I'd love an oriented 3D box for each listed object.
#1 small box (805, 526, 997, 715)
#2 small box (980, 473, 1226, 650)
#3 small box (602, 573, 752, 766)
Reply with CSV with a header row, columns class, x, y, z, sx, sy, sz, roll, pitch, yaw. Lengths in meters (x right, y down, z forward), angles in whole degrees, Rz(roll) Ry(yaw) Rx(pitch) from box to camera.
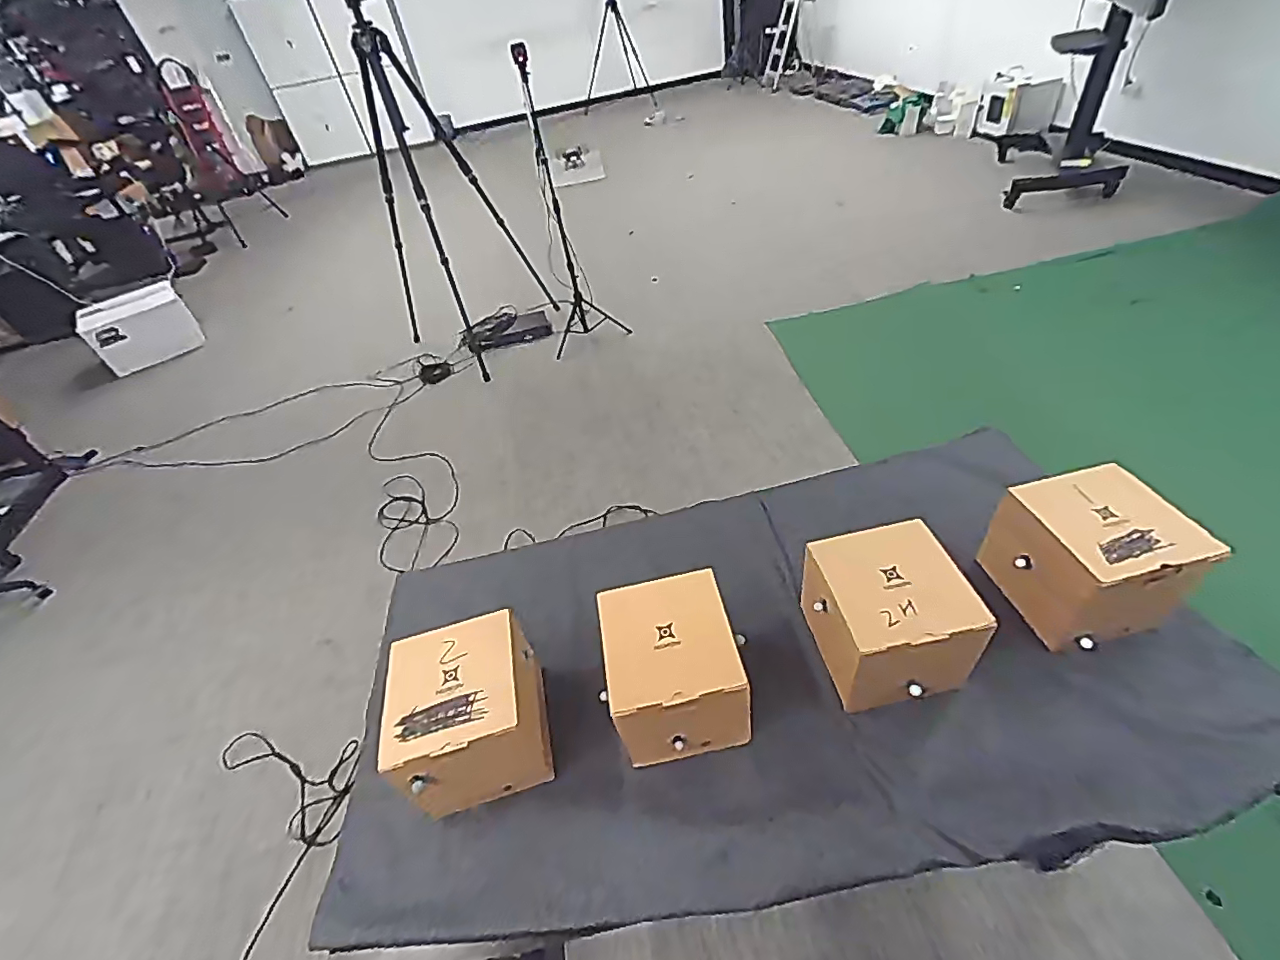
class,x,y,z,sx,sy,sz,roll,pitch,yaw
small box,0.338,0.194,0.747,0.168,0.176,0.179,-12,43,0
small box,0.628,0.121,0.765,0.168,0.176,0.179,-12,42,-2
small box,0.047,0.259,0.740,0.168,0.176,0.179,-12,44,-1
